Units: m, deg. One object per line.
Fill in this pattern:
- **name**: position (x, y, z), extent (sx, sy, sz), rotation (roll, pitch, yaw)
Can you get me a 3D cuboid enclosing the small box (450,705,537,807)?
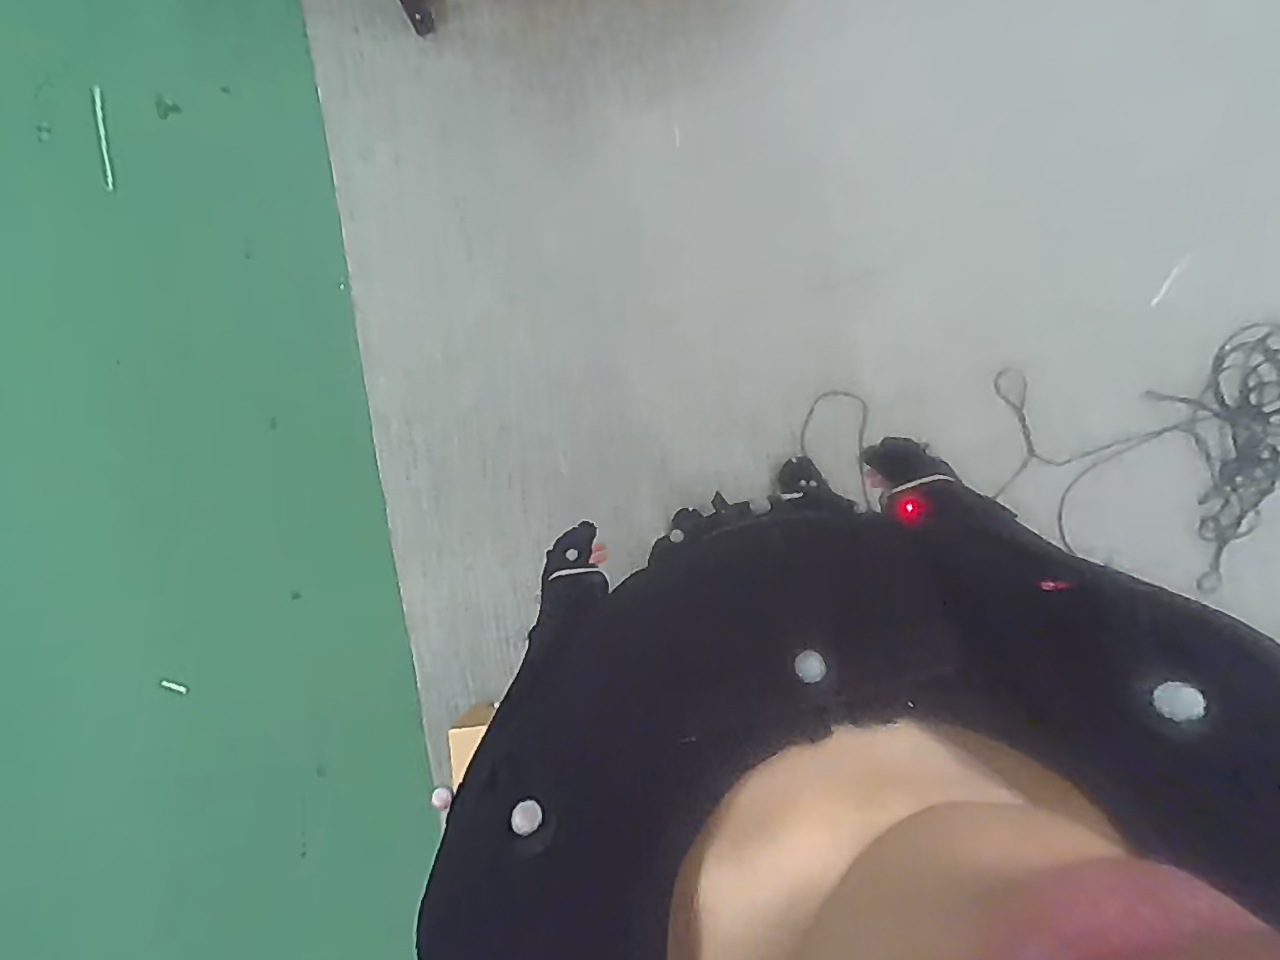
- **small box**: position (-0.370, 0.703, 1.390), extent (0.168, 0.176, 0.179), rotation (-7, 86, 2)
